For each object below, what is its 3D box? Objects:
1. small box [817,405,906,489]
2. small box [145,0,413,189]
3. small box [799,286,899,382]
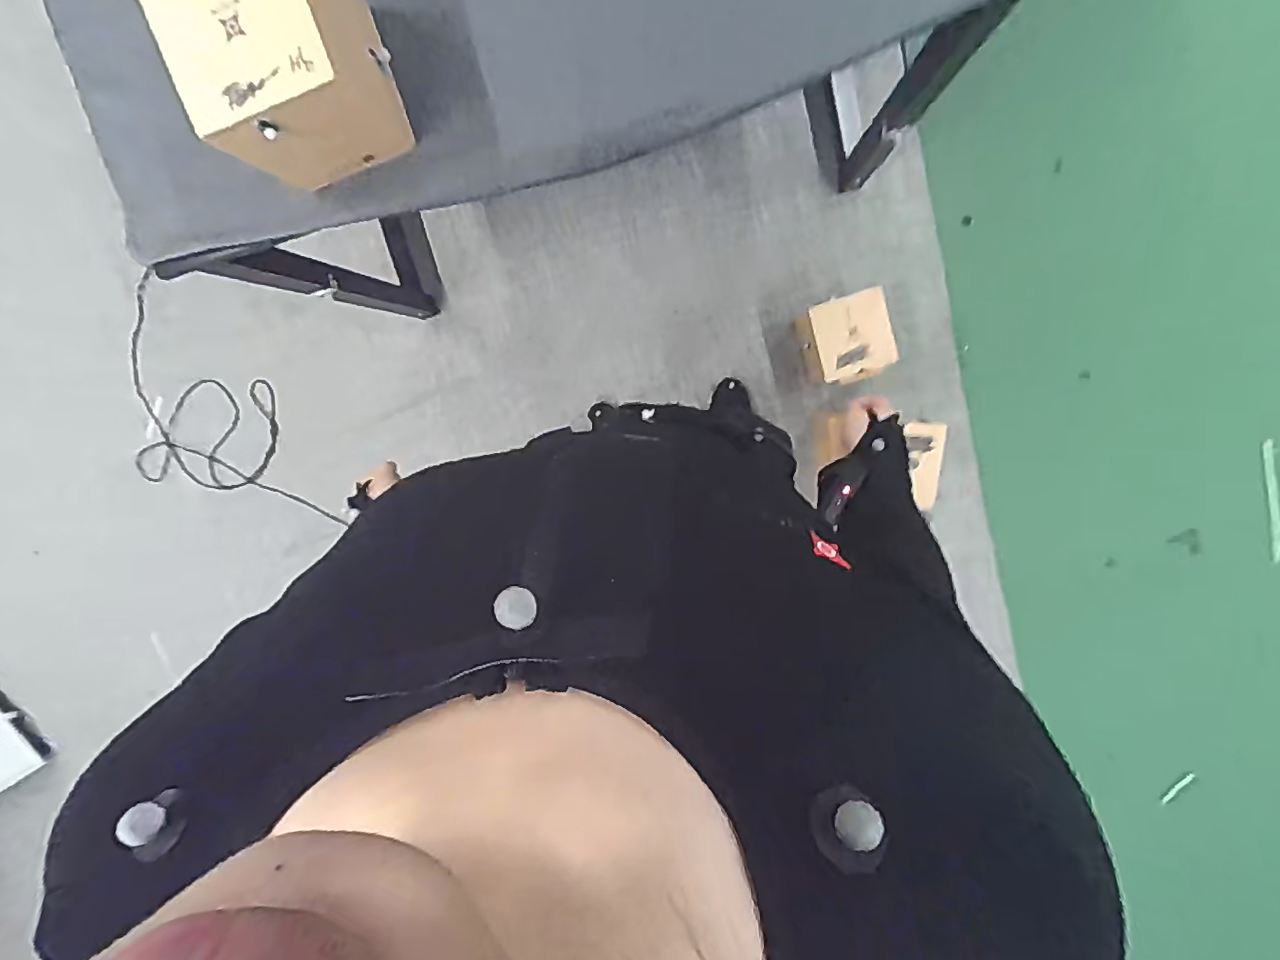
[{"bbox_3d":[0.540,-0.085,1.332,0.168,0.176,0.179,-6,100,7],"label":"small box"},{"bbox_3d":[-0.395,-0.469,0.613,0.168,0.176,0.179,-16,99,9],"label":"small box"},{"bbox_3d":[0.490,-0.341,1.289,0.168,0.176,0.179,-16,98,9],"label":"small box"}]
